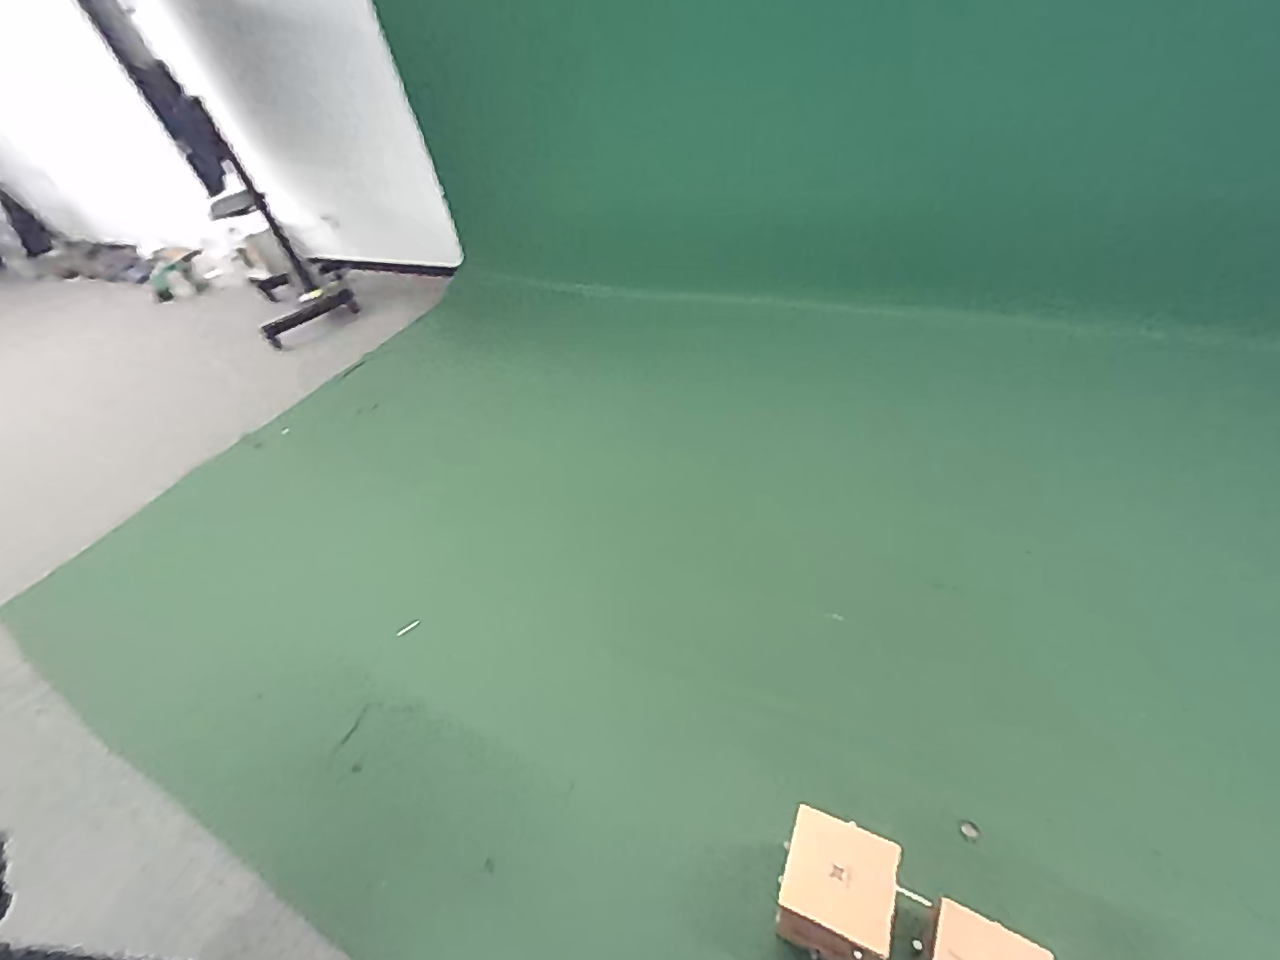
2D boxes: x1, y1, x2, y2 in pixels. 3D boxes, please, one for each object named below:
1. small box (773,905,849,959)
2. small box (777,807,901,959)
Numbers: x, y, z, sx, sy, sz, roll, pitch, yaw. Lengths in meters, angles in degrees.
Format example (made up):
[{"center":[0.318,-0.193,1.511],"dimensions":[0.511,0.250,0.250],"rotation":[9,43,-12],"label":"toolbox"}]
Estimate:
[{"center":[0.375,0.850,1.091],"dimensions":[0.168,0.176,0.179],"rotation":[14,51,24],"label":"small box"},{"center":[0.353,0.735,0.977],"dimensions":[0.179,0.176,0.168],"rotation":[13,49,24],"label":"small box"}]
